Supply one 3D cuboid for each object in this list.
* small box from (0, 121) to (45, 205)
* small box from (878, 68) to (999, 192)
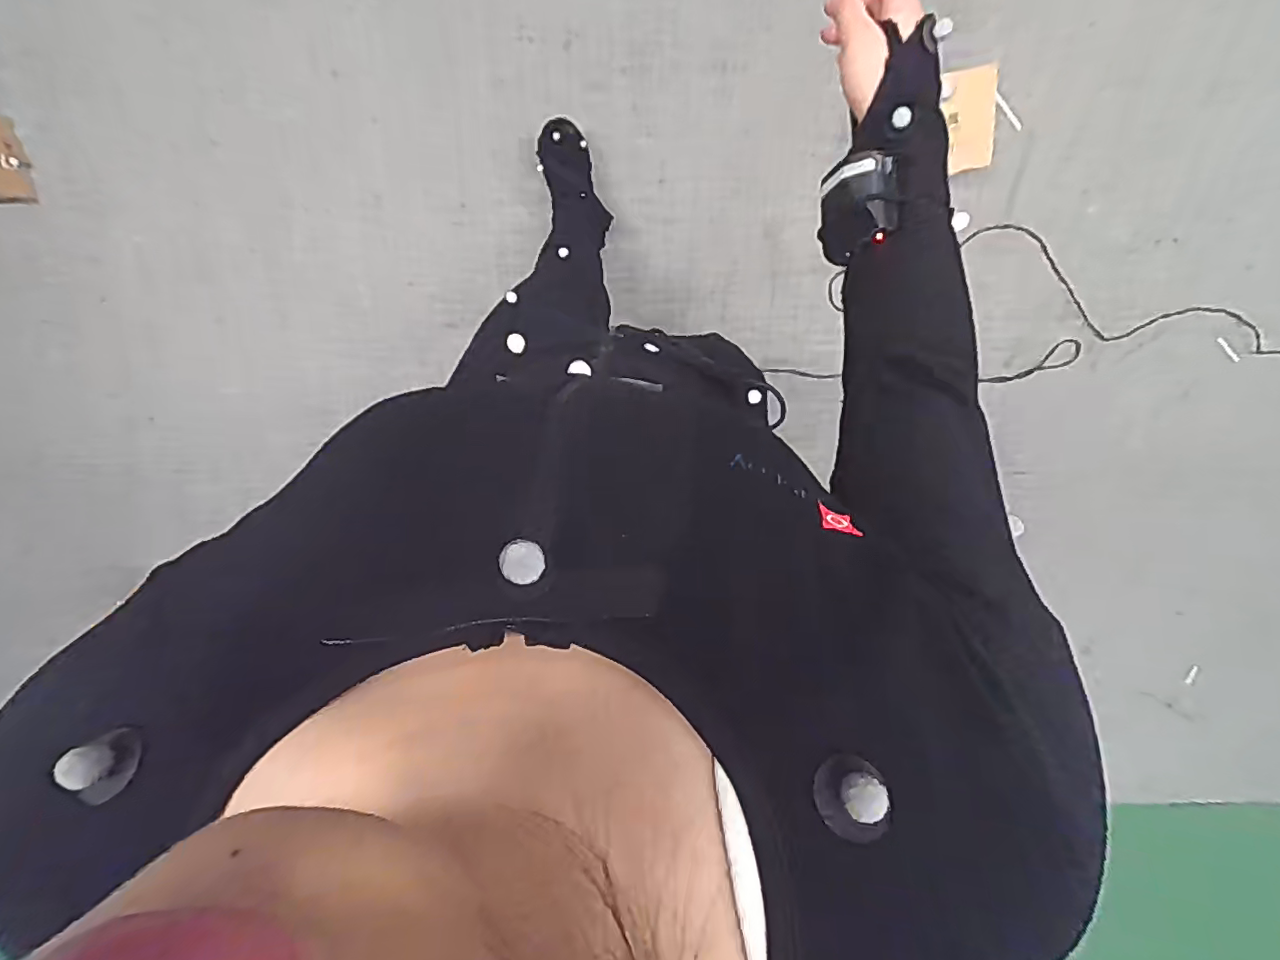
[{"bbox_3d":[-1.494,-0.700,1.181,0.179,0.176,0.168,-1,113,0],"label":"small box"},{"bbox_3d":[0.615,-0.721,1.133,0.168,0.176,0.179,-9,113,4],"label":"small box"}]
